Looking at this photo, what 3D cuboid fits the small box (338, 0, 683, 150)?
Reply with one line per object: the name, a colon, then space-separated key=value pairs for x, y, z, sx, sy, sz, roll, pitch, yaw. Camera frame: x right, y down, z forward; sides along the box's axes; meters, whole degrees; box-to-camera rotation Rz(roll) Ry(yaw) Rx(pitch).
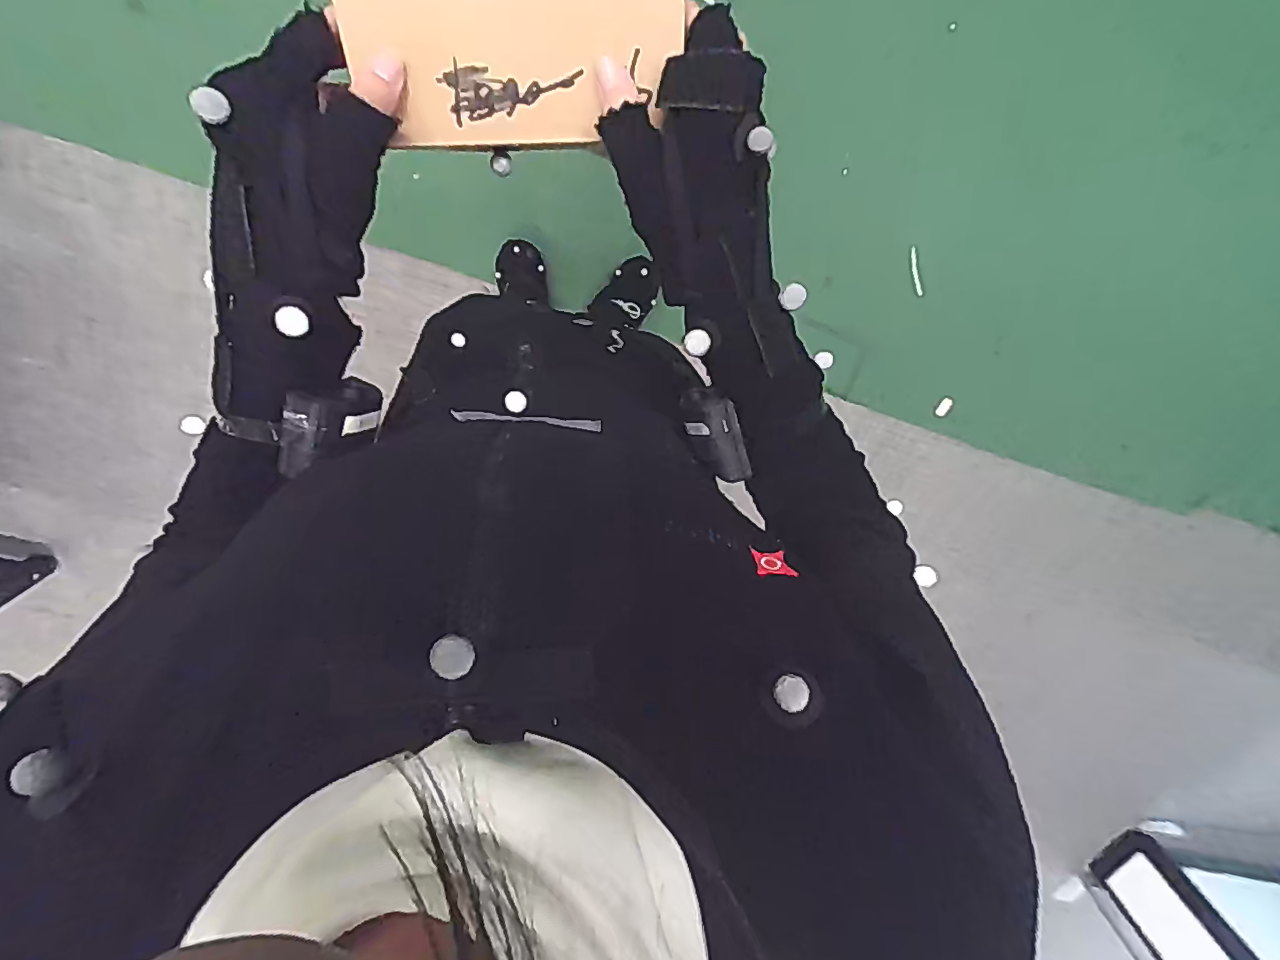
small box: x=-0.066 y=-0.295 z=0.312 sx=0.168 sy=0.176 sz=0.179 roll=-3 pitch=122 yaw=-3
